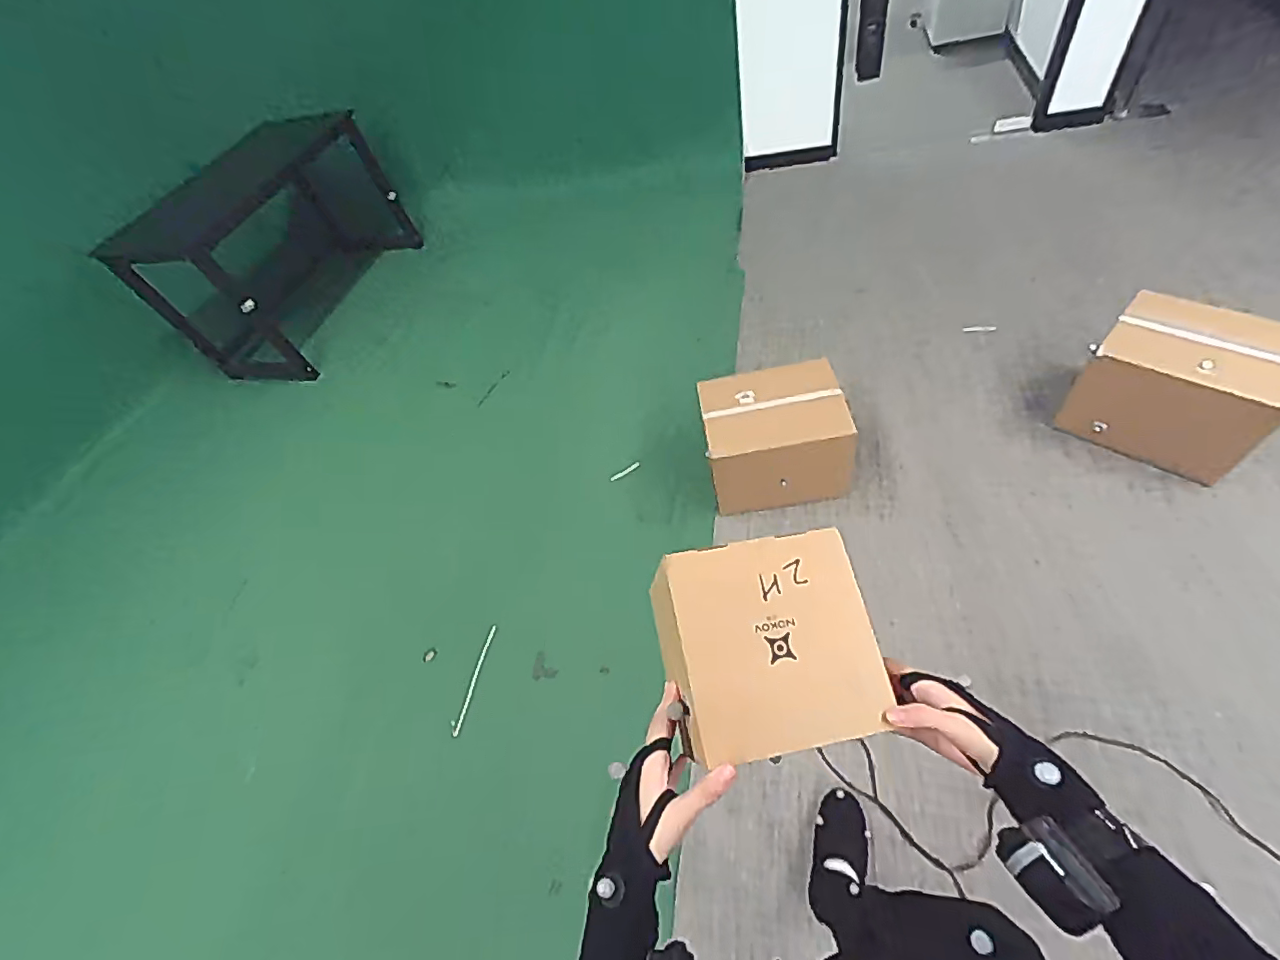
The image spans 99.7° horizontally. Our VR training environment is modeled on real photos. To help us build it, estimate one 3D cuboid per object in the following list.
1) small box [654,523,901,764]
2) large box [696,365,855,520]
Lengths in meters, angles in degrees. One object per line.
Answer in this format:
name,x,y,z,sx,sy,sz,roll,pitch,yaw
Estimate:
small box,0.112,0.159,0.527,0.168,0.176,0.179,-8,67,-8
large box,0.411,-0.107,1.687,0.408,0.320,0.320,-10,51,8
